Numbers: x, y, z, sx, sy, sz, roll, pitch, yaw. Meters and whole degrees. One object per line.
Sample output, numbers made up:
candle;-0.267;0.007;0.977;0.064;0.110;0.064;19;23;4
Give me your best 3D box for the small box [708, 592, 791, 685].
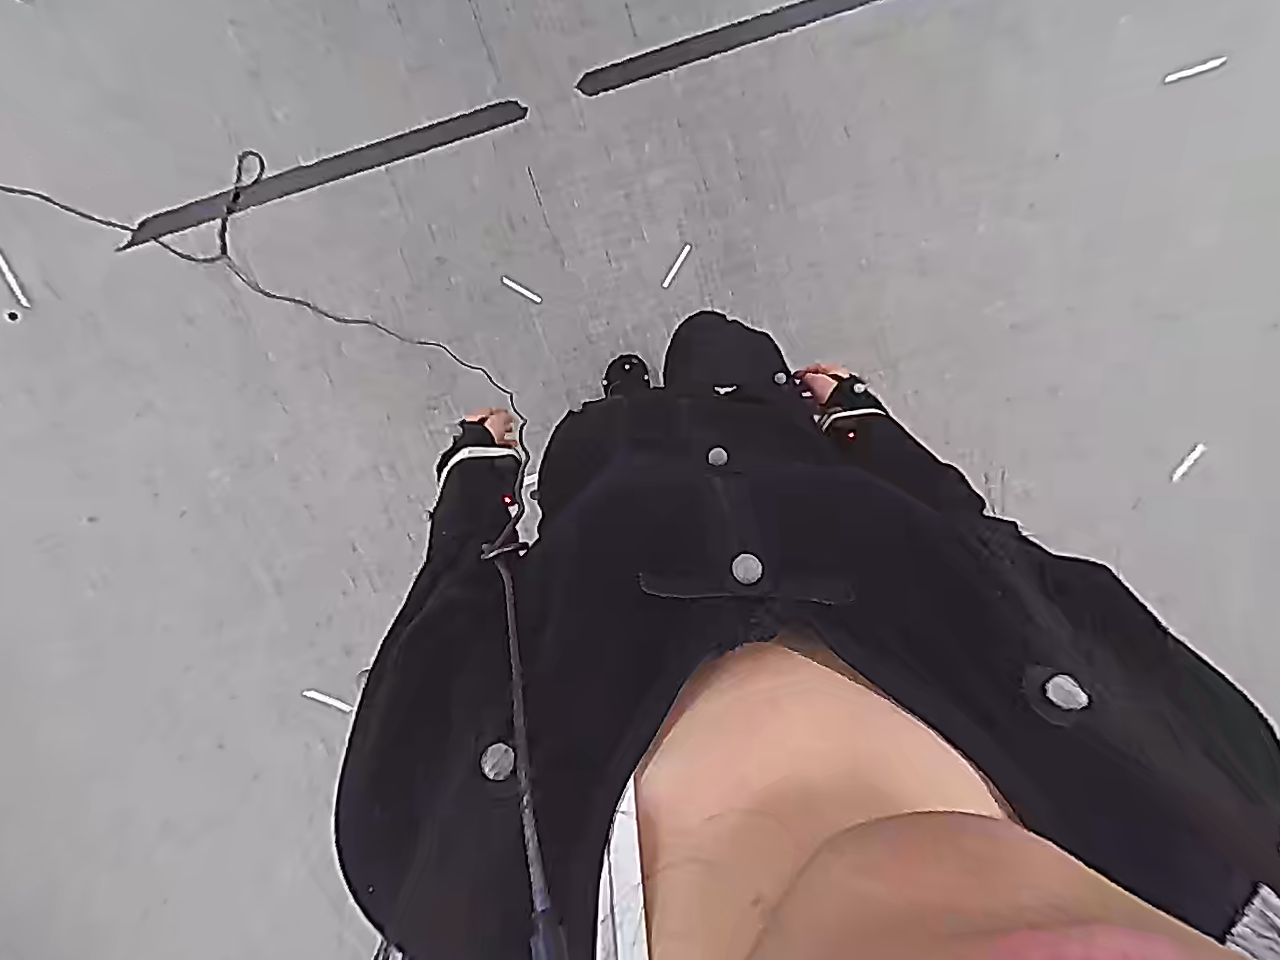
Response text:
small box;0.301;0.435;1.521;0.168;0.176;0.179;-19;104;3
